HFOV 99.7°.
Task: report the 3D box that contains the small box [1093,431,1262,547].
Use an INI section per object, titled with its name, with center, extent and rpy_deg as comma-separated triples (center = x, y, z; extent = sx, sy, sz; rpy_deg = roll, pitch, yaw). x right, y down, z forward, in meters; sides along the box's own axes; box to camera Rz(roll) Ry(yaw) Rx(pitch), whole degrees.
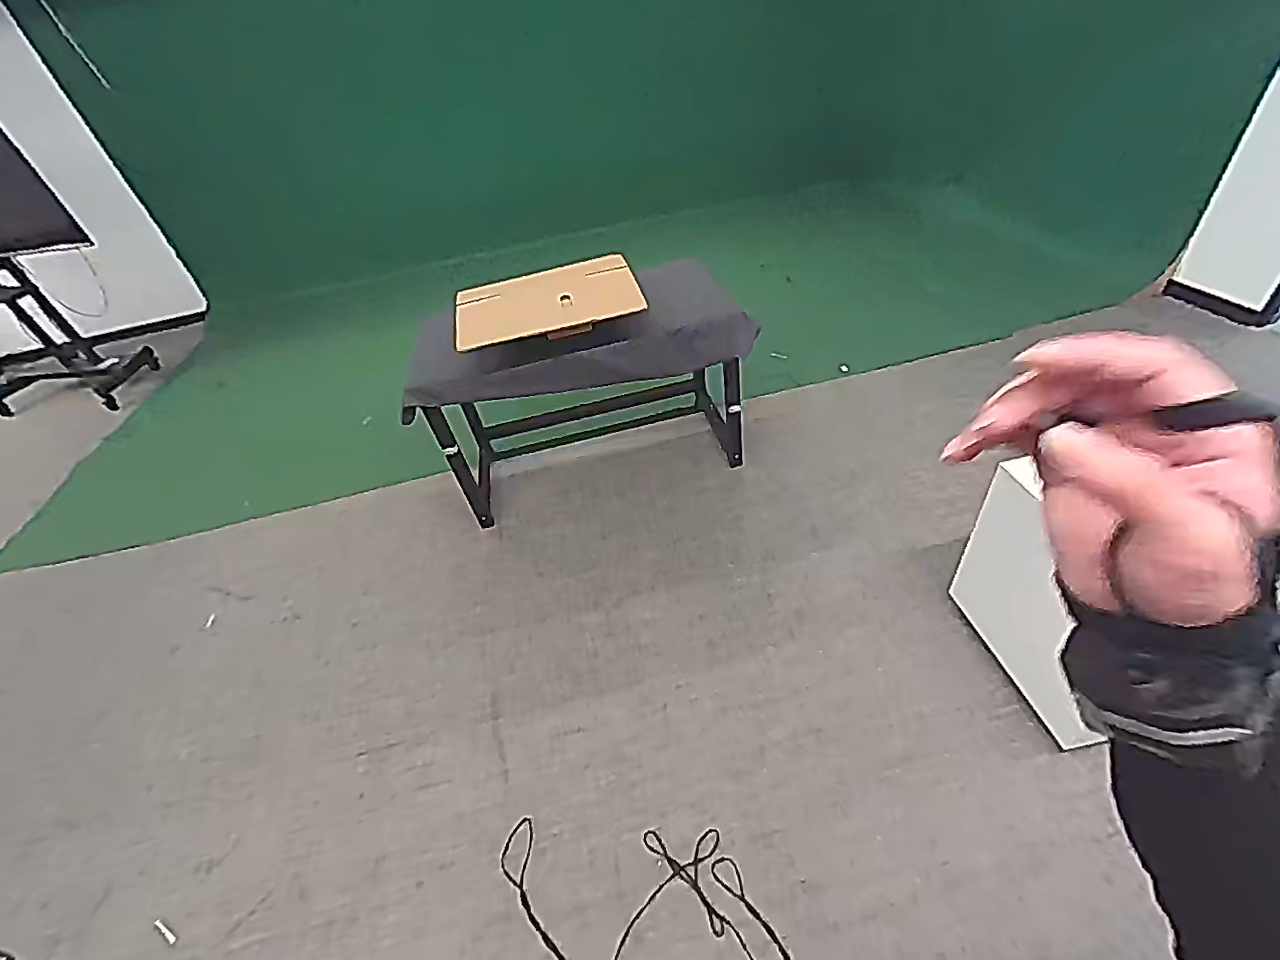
[small box]
center = 1.132, 0.022, 1.164
extent = 0.179, 0.176, 0.168
rpy_deg = -13, 41, -4
